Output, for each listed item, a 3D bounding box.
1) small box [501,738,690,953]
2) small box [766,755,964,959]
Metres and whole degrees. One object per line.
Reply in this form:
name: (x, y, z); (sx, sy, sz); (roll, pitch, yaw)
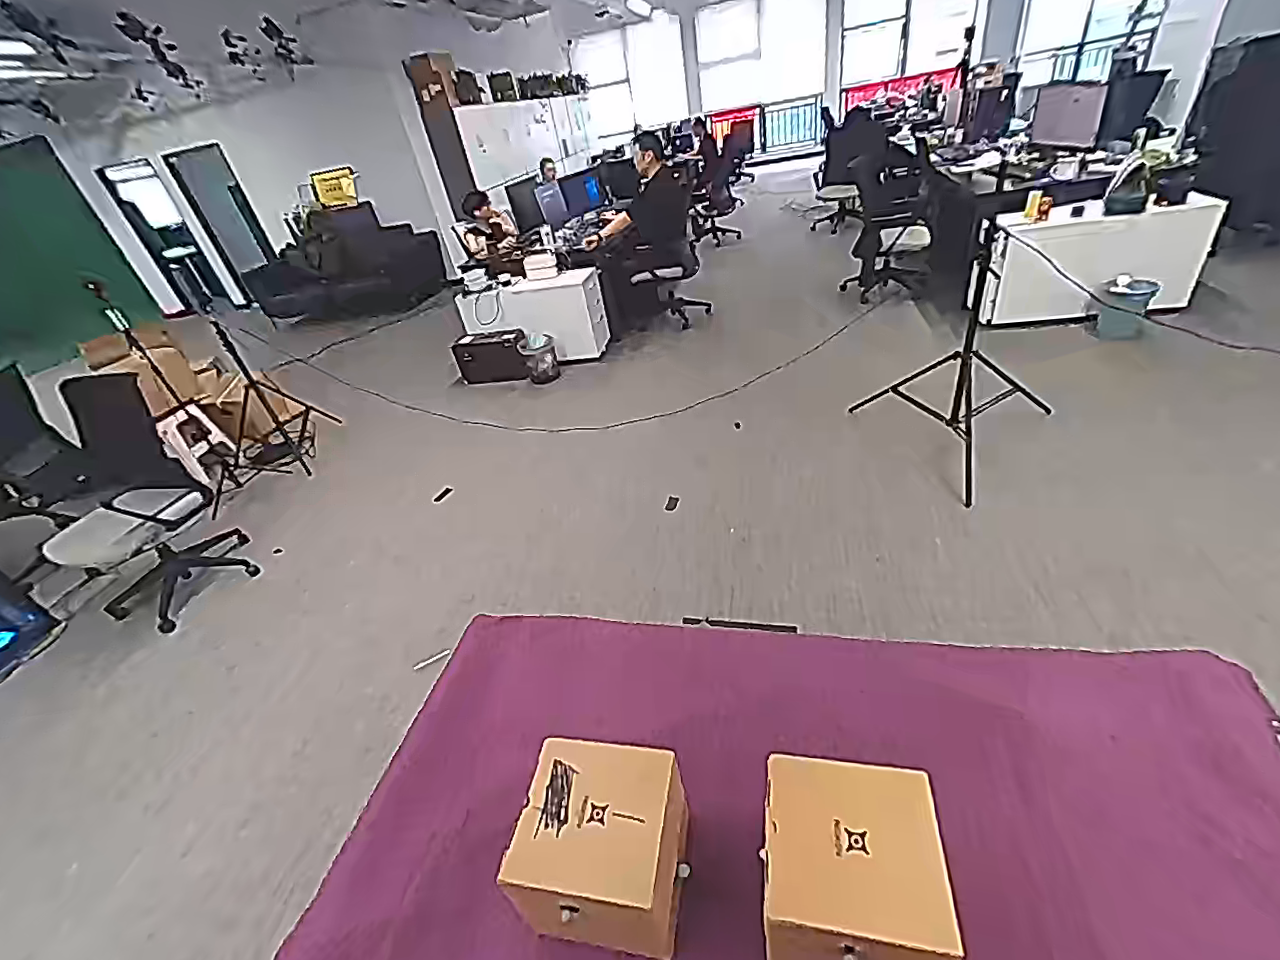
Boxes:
small box: (-0.041, 0.453, 0.676); (0.179, 0.176, 0.168); (-1, 36, 15)
small box: (0.237, 0.443, 0.610); (0.179, 0.176, 0.168); (-1, 36, 16)
